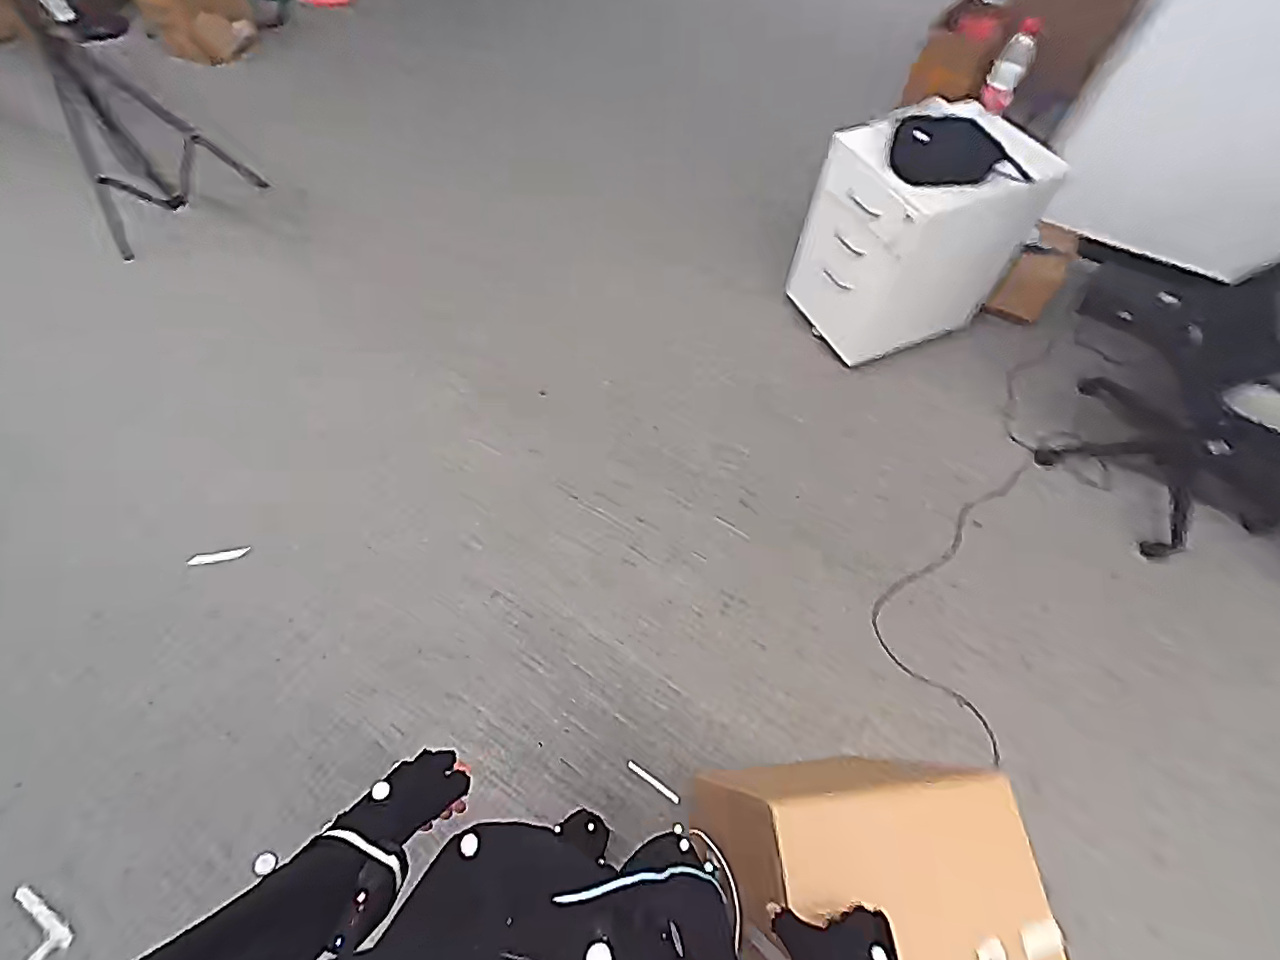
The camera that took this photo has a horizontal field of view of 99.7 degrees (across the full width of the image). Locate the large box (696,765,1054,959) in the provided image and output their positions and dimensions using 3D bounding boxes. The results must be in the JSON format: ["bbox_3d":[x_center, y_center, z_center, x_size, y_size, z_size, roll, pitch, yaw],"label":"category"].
[{"bbox_3d":[0.285,0.595,0.759,0.320,0.408,0.320,1,66,-8],"label":"large box"}]
